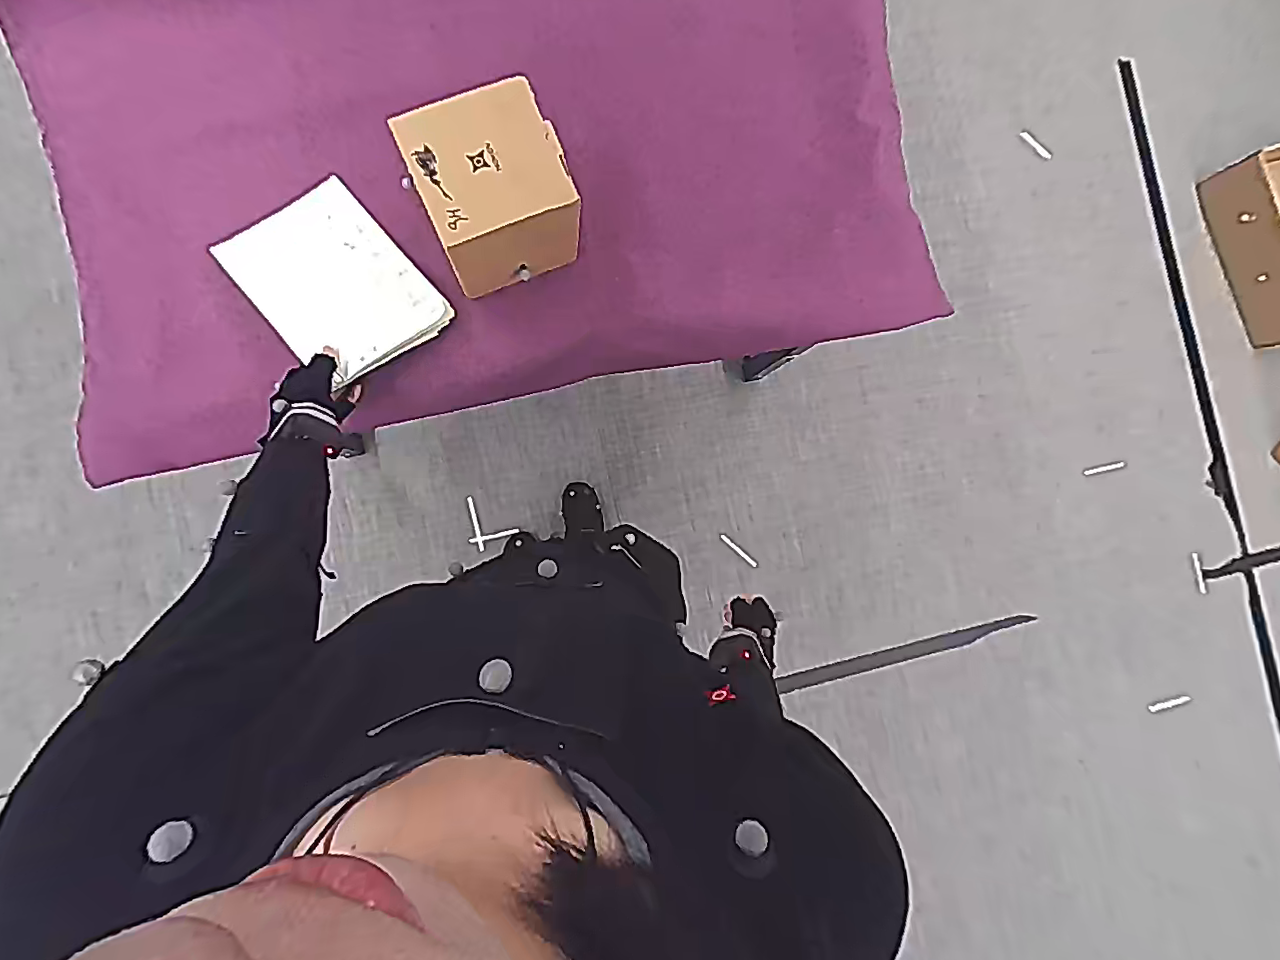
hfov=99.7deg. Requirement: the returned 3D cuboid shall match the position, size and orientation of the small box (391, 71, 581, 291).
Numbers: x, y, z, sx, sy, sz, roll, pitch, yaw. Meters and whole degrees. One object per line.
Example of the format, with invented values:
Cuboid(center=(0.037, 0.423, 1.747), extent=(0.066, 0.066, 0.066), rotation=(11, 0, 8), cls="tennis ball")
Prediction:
Cuboid(center=(-0.192, -0.380, 0.715), extent=(0.179, 0.176, 0.168), rotation=(-24, 90, -9), cls="small box")
